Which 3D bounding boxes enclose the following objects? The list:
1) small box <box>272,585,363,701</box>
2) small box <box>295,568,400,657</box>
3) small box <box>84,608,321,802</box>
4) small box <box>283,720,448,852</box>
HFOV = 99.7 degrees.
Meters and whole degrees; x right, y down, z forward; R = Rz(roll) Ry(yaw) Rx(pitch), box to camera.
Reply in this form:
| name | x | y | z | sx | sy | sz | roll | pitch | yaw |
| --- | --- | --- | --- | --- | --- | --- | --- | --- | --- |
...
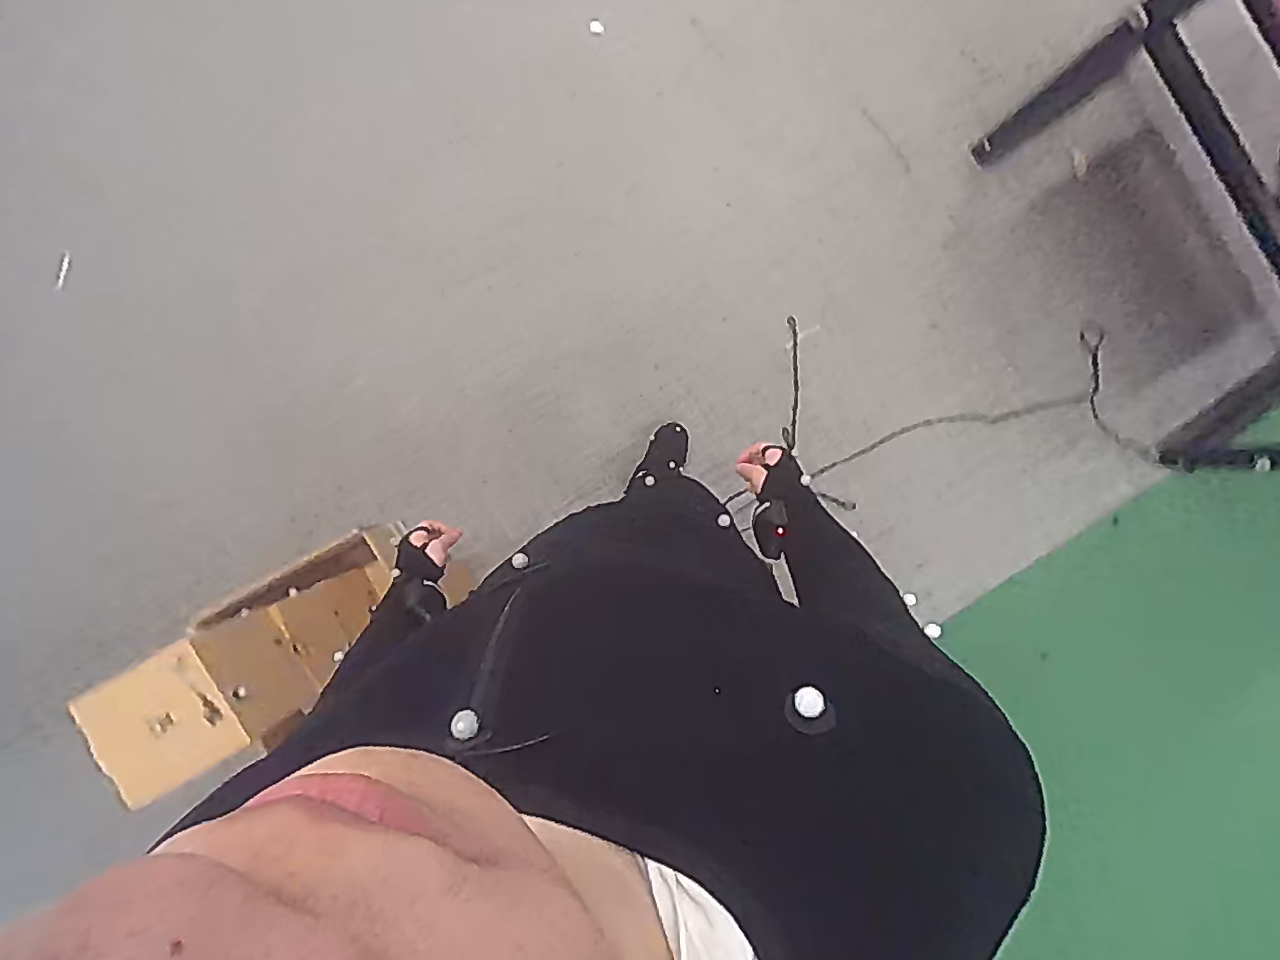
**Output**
| name | x | y | z | sx | sy | sz | roll | pitch | yaw |
| --- | --- | --- | --- | --- | --- | --- | --- | --- | --- |
| small box | -0.627 | 0.308 | 0.962 | 0.179 | 0.176 | 0.168 | -27 | 92 | -1 |
| small box | -0.641 | 0.304 | 1.126 | 0.179 | 0.176 | 0.168 | -29 | 93 | -2 |
| small box | -0.625 | 0.317 | 0.798 | 0.179 | 0.176 | 0.168 | -31 | 93 | -1 |
| small box | -0.481 | 0.575 | 0.976 | 0.179 | 0.176 | 0.168 | -27 | 93 | -1 |
